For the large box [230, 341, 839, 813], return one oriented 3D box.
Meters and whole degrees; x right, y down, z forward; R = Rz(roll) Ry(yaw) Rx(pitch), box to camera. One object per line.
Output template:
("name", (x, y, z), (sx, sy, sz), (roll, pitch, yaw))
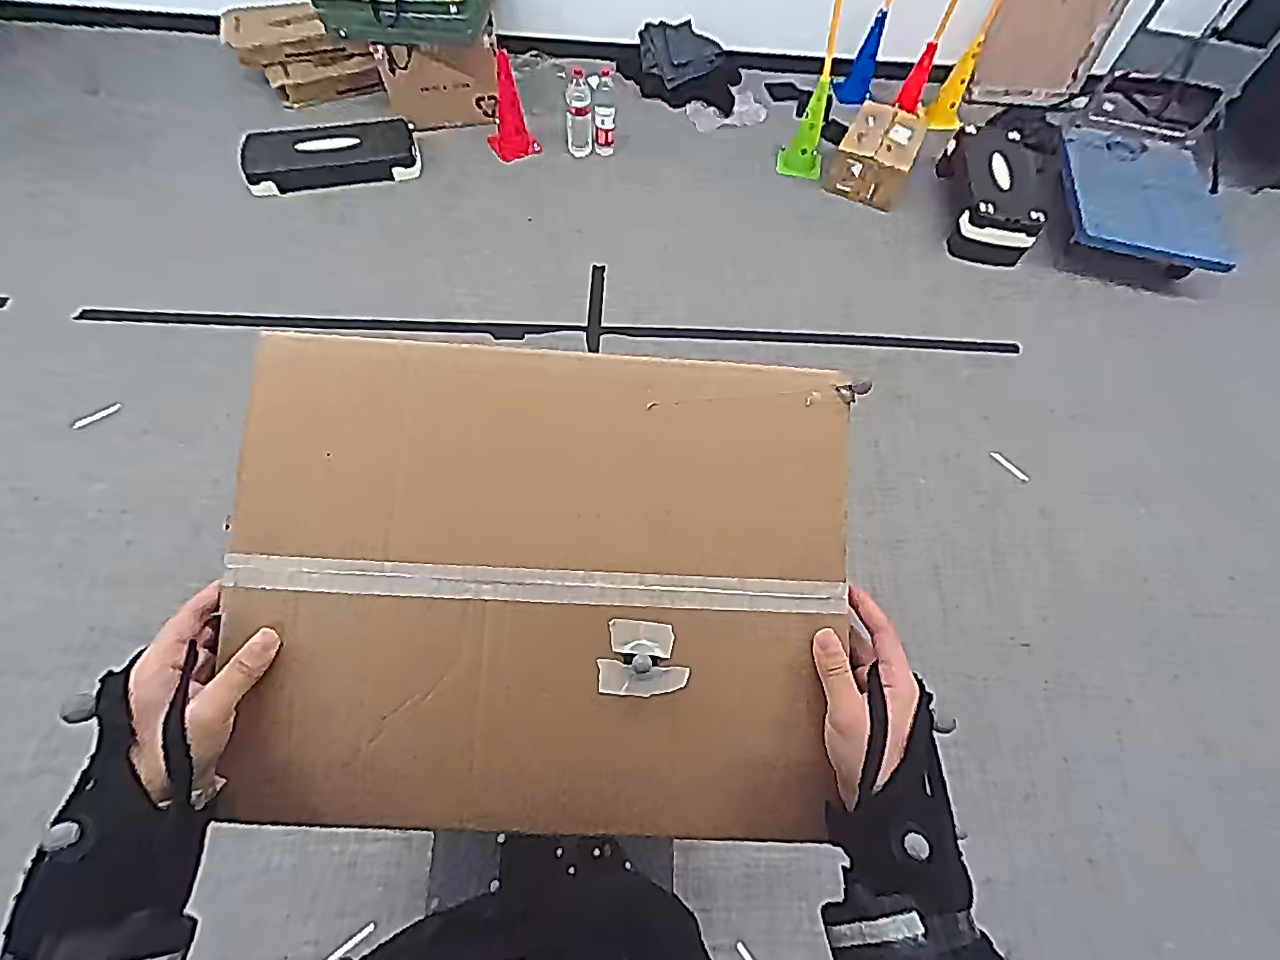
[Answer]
("large box", (-0.069, 0.079, 0.517), (0.408, 0.320, 0.320), (3, 85, -3))
